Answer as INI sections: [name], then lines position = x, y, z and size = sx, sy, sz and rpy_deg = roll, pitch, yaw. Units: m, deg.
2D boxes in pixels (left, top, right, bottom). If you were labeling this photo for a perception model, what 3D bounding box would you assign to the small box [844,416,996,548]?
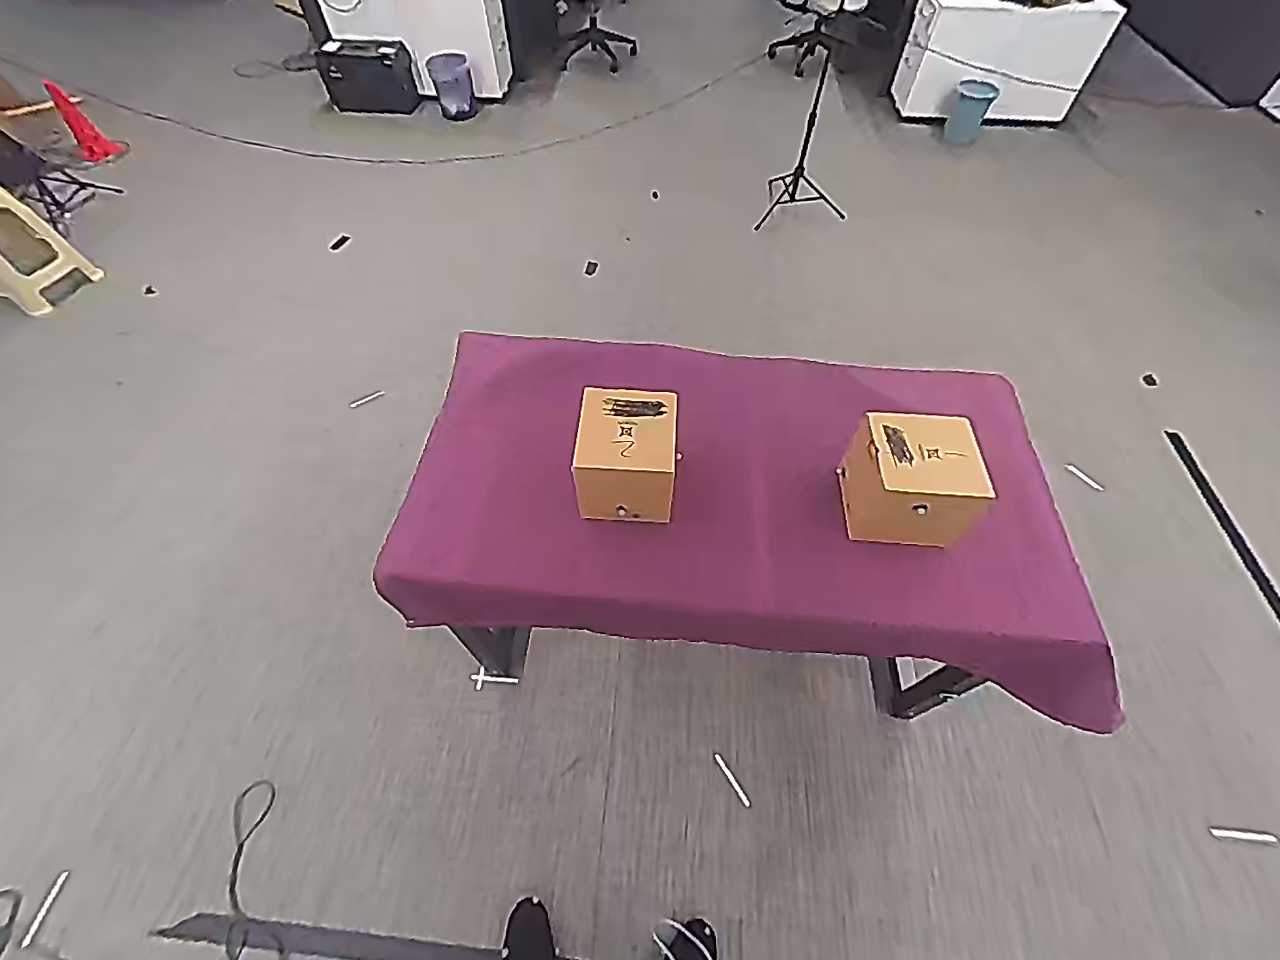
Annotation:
[small box]
position = 0.472, 0.007, 0.949
size = 0.179, 0.176, 0.168
rpy_deg = 4, 56, 2
